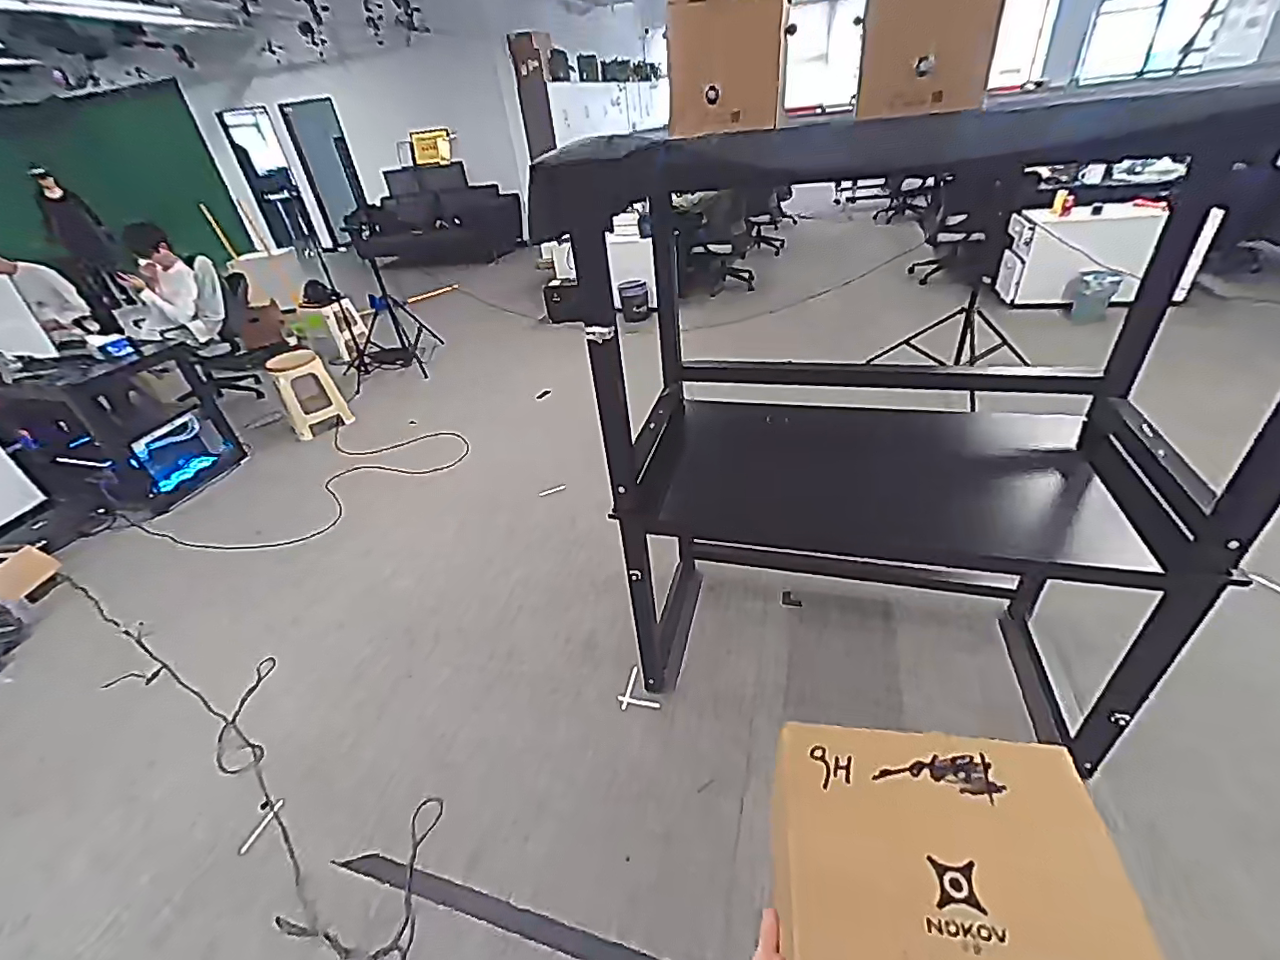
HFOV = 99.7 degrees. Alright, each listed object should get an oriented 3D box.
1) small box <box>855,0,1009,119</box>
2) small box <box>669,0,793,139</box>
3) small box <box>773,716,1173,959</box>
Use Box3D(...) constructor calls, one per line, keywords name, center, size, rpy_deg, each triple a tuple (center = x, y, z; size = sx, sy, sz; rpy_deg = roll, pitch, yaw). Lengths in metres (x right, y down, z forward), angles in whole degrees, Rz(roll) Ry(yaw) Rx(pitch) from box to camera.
Box3D(name="small box", center=(0.406, -0.622, 0.773), size=(0.168, 0.176, 0.179), rpy_deg=(5, 34, 17))
Box3D(name="small box", center=(0.145, -0.643, 0.853), size=(0.168, 0.176, 0.179), rpy_deg=(5, 35, 15))
Box3D(name="small box", center=(0.169, 0.268, 0.316), size=(0.168, 0.176, 0.179), rpy_deg=(2, 41, 10))
